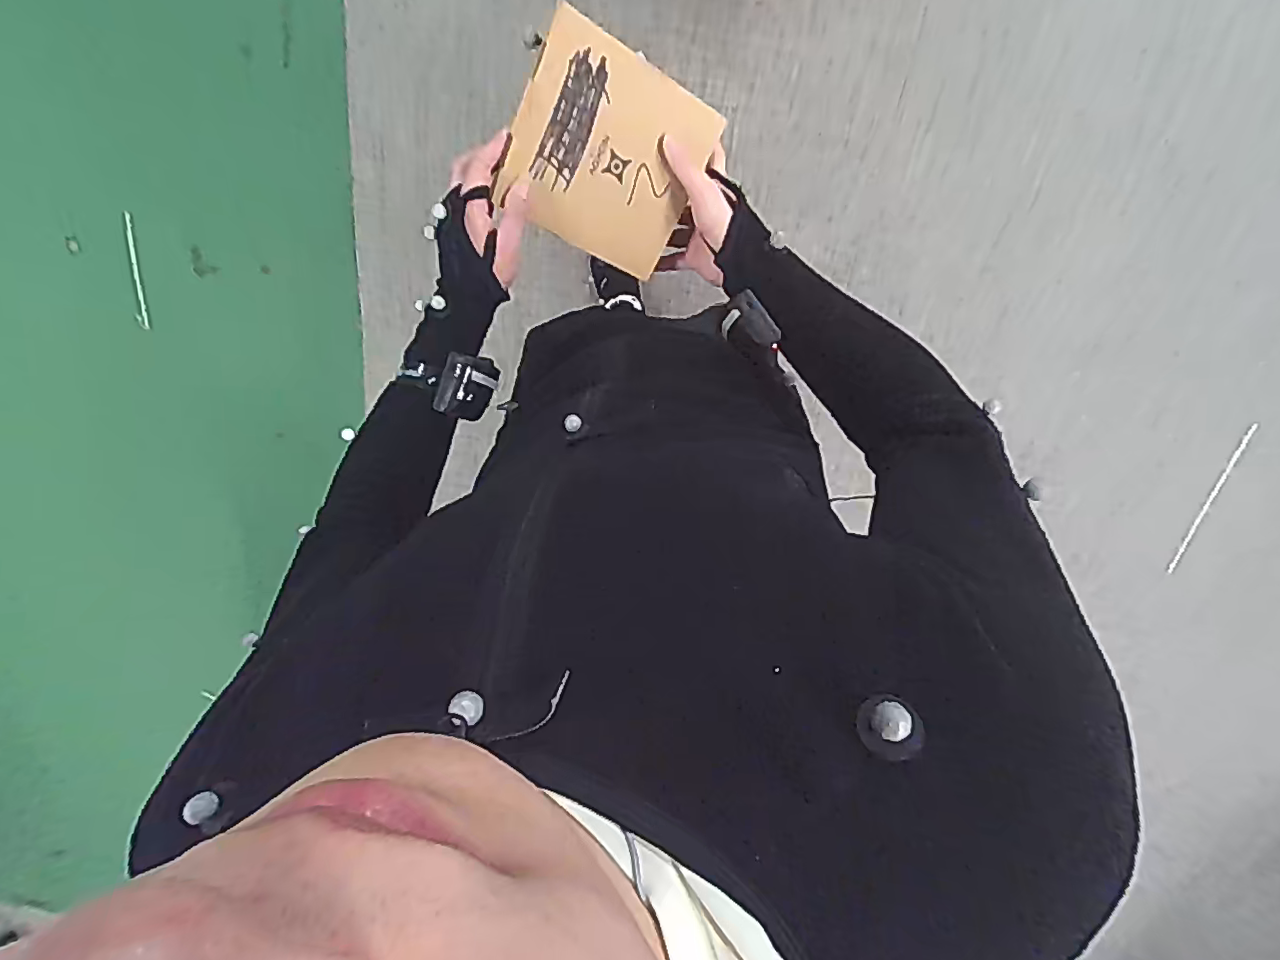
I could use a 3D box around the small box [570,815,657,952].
[{"bbox_3d":[-0.053,0.856,1.158,0.168,0.176,0.179,5,114,3],"label":"small box"}]
